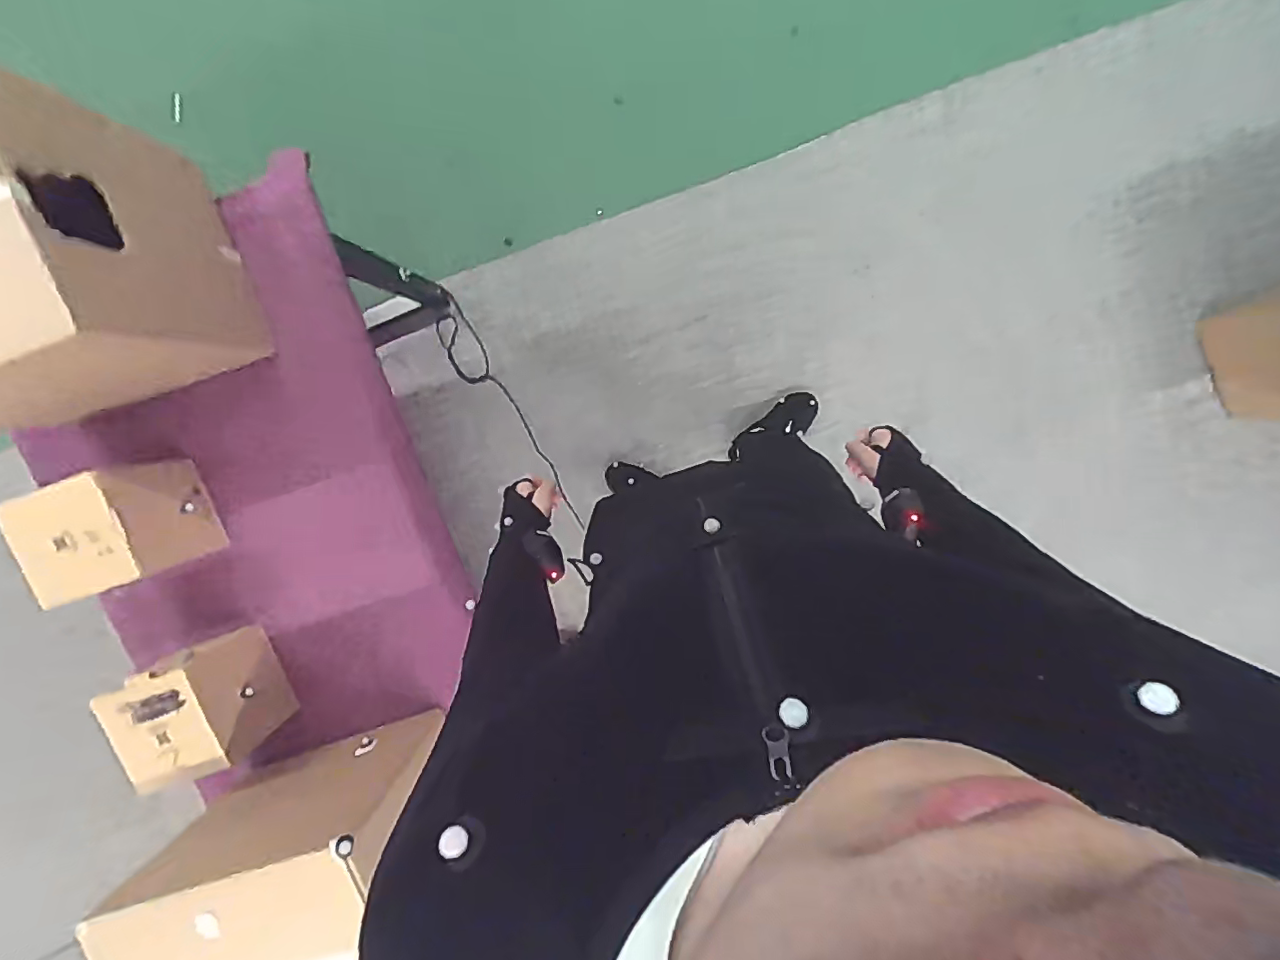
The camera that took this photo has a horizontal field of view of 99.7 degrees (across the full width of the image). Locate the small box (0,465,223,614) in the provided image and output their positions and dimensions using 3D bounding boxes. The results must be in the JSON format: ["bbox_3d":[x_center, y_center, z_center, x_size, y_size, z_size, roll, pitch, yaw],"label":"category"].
[{"bbox_3d":[-0.827,0.085,0.856,0.179,0.176,0.168,-18,98,4],"label":"small box"}]

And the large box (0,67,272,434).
[{"bbox_3d":[-0.836,-0.266,0.735,0.408,0.320,0.320,-18,99,5],"label":"large box"}]
